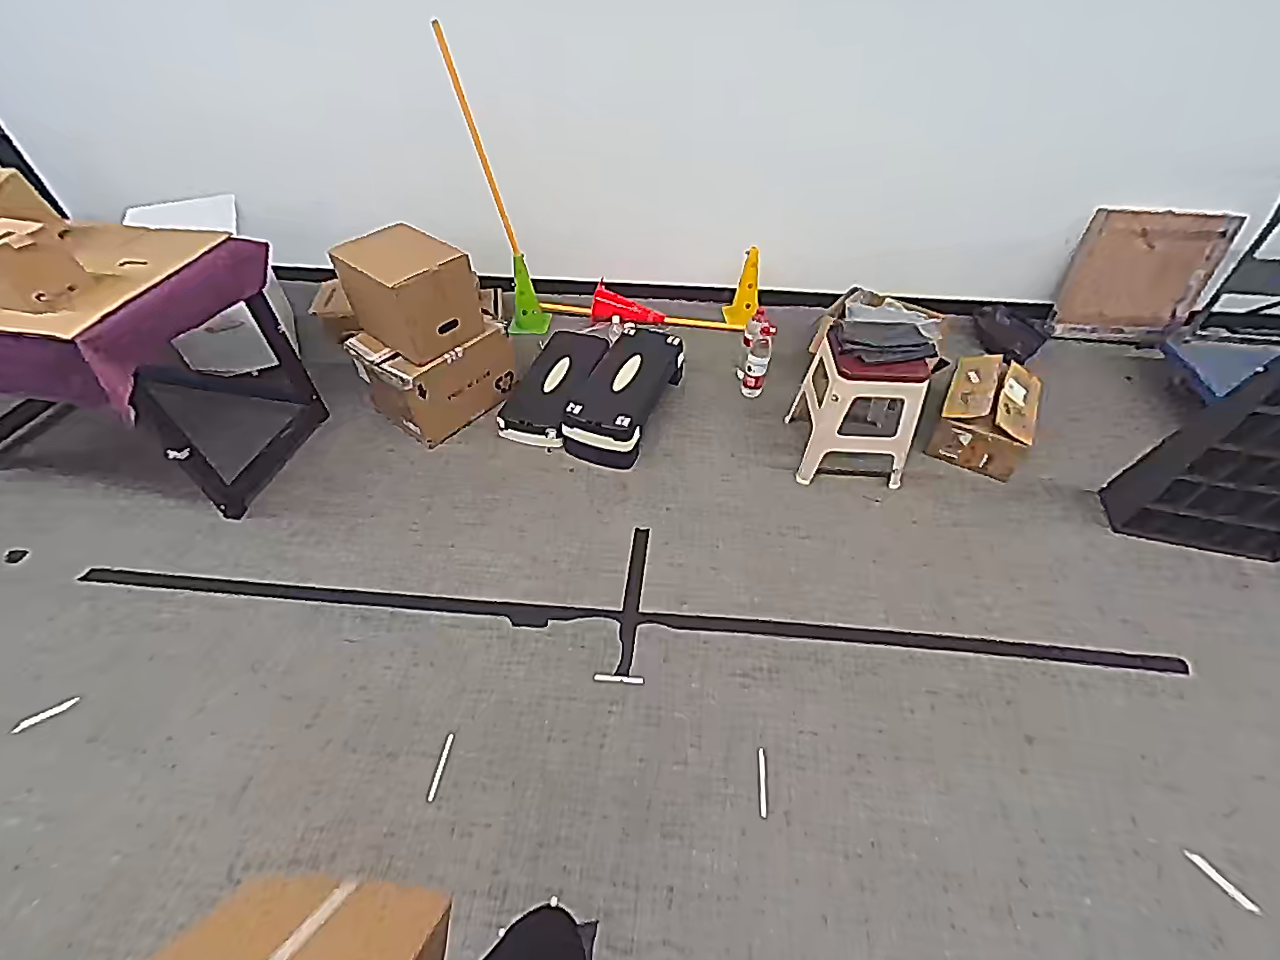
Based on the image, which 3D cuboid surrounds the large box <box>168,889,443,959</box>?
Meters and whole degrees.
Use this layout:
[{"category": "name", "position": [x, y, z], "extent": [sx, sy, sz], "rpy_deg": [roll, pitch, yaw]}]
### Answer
[{"category": "large box", "position": [-0.469, 0.768, 0.626], "extent": [0.320, 0.408, 0.320], "rpy_deg": [4, 79, 1]}]
